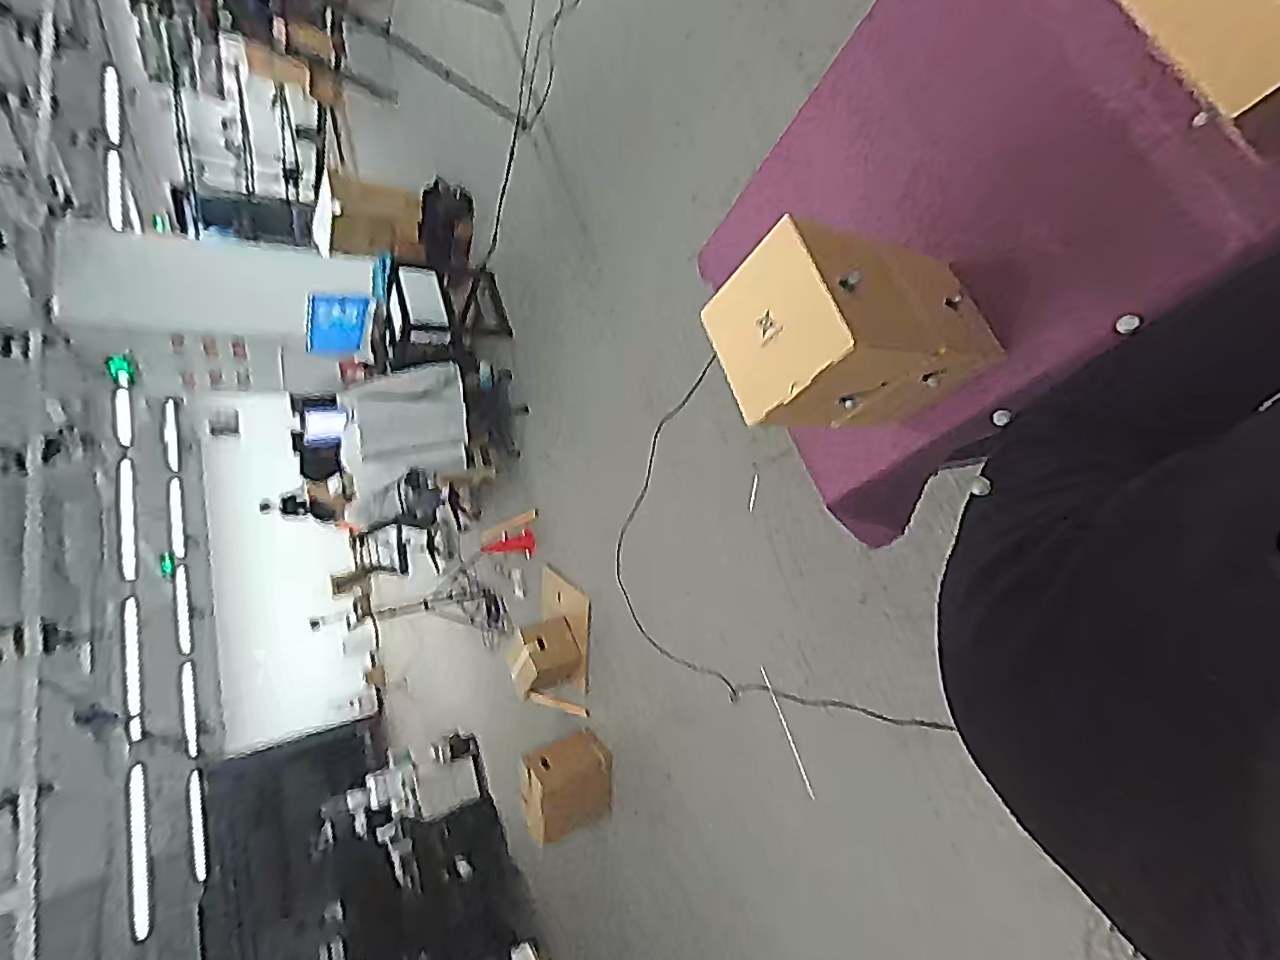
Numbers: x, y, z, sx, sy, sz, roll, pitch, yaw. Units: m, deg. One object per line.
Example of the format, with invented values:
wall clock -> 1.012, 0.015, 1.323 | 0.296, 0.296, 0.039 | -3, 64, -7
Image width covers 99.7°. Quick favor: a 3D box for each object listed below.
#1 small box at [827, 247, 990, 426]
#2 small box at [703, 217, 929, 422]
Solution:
small box -> 0.352, -0.191, 0.761 | 0.179, 0.176, 0.168 | -42, 60, 50
small box -> 0.215, -0.186, 0.674 | 0.168, 0.176, 0.179 | -41, 63, 50
